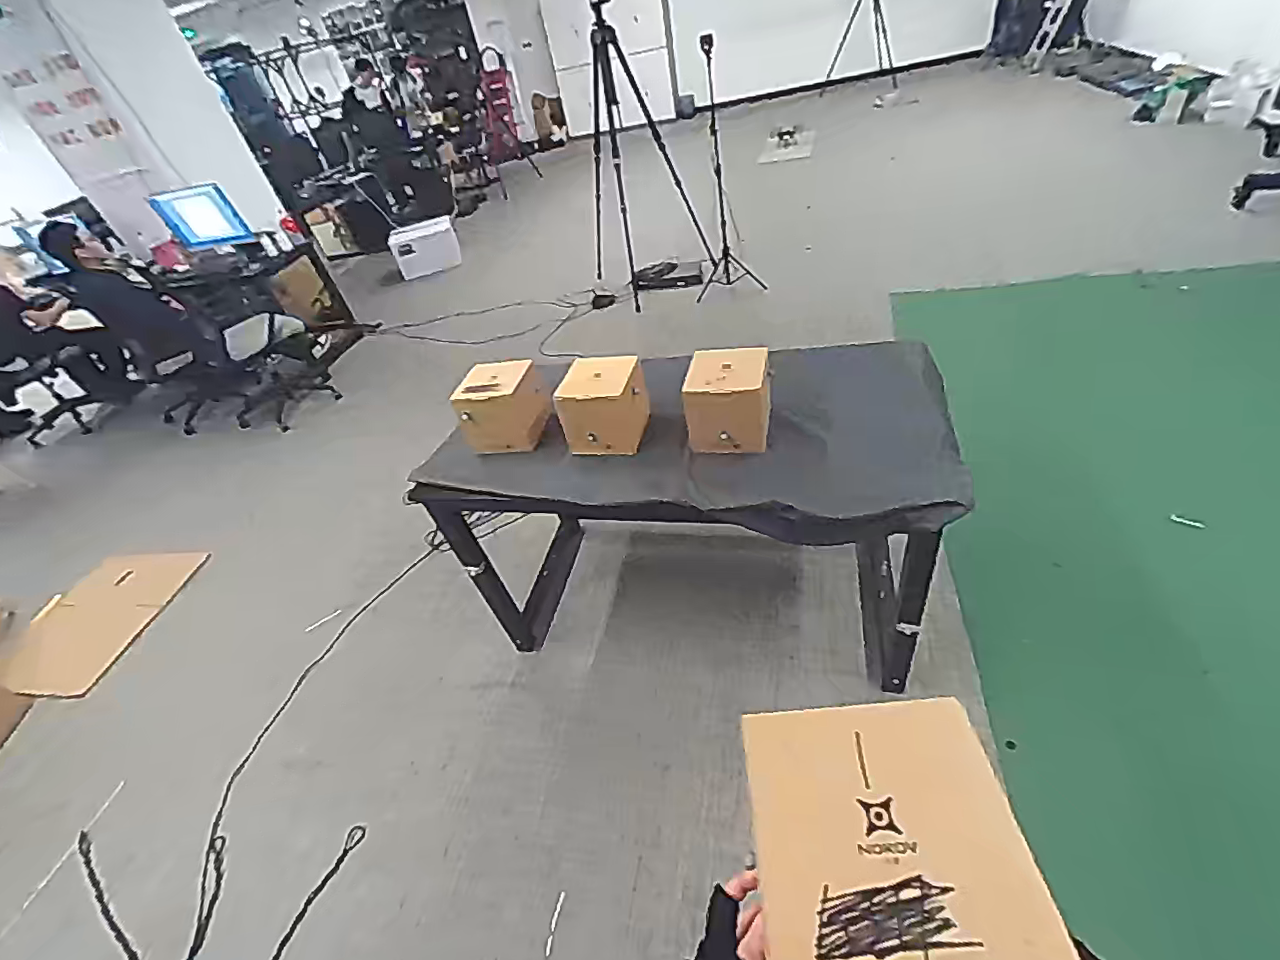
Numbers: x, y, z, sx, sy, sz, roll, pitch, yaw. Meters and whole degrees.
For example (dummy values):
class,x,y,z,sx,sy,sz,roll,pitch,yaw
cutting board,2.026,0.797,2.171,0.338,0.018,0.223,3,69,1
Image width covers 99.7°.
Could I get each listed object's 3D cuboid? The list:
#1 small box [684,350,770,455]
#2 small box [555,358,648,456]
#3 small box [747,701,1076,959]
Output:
class,x,y,z,sx,sy,sz,roll,pitch,yaw
small box,0.203,-0.176,1.221,0.168,0.176,0.179,2,43,18
small box,-0.083,-0.179,1.308,0.168,0.176,0.179,2,43,17
small box,0.177,0.292,0.401,0.168,0.176,0.179,-8,37,9
